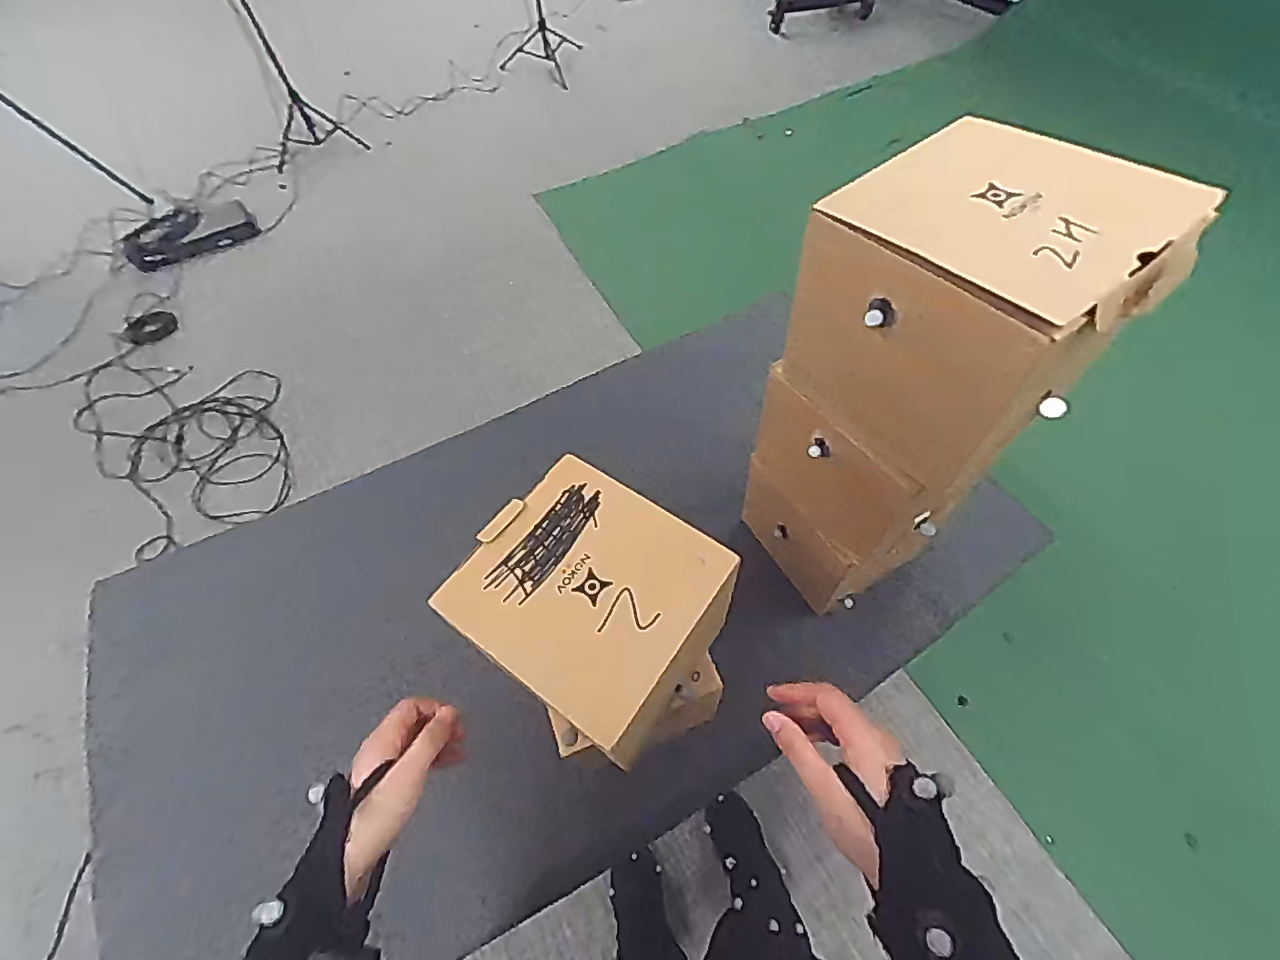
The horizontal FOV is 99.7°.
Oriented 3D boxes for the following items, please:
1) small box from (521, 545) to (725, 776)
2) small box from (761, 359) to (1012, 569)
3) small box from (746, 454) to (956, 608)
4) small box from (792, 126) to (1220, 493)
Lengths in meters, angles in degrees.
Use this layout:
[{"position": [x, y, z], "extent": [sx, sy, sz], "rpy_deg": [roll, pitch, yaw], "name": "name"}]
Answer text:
[{"position": [-0.020, 0.207, 0.611], "extent": [0.168, 0.176, 0.179], "rpy_deg": [-20, 58, -9], "name": "small box"}, {"position": [0.244, -0.040, 0.553], "extent": [0.168, 0.176, 0.179], "rpy_deg": [-32, 62, -13], "name": "small box"}, {"position": [0.254, 0.043, 0.692], "extent": [0.168, 0.176, 0.179], "rpy_deg": [-28, 59, -12], "name": "small box"}, {"position": [0.239, -0.123, 0.409], "extent": [0.168, 0.176, 0.179], "rpy_deg": [-35, 61, -14], "name": "small box"}]
